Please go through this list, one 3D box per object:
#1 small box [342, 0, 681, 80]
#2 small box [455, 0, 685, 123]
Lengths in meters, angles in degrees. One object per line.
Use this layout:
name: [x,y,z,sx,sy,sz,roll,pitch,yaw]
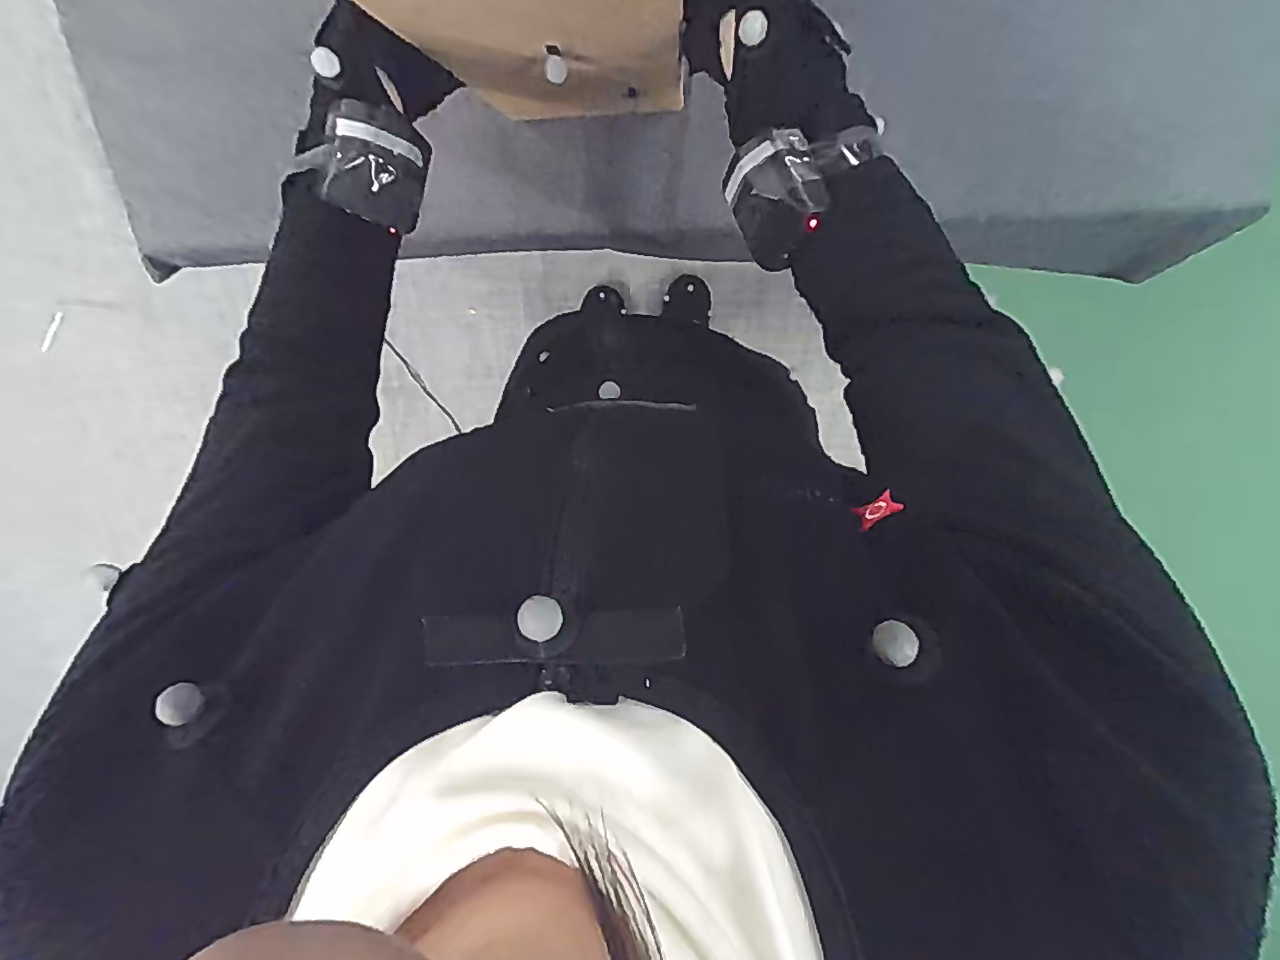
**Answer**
small box: [-0.066,-0.348,0.299,0.179,0.176,0.168,-2,113,6]
small box: [-0.052,-0.413,0.448,0.179,0.176,0.168,0,113,6]
